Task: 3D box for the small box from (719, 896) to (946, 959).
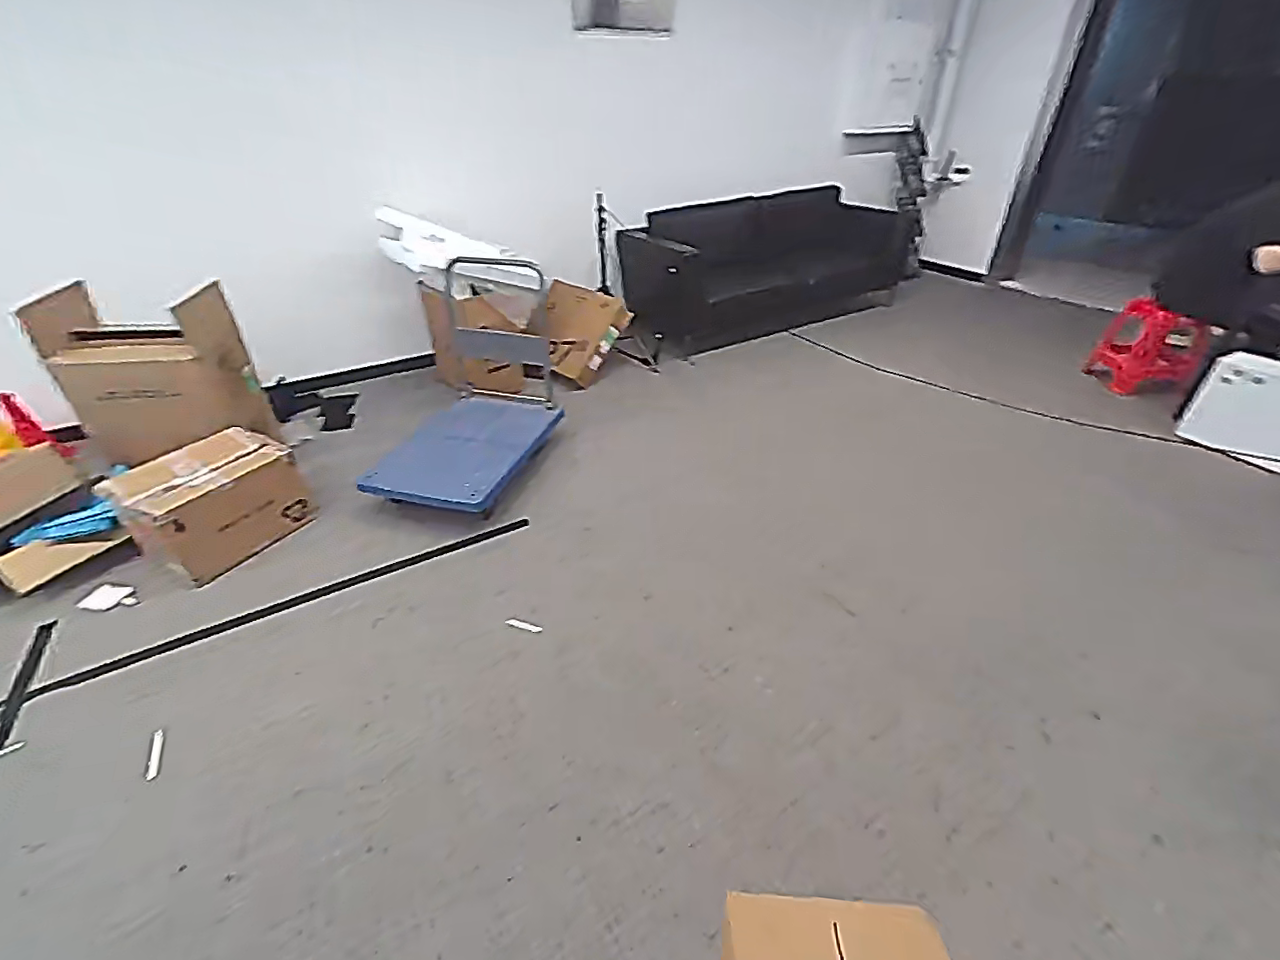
[{"bbox_3d":[0.142,0.443,0.374,0.168,0.176,0.179,2,9,3],"label":"small box"}]
